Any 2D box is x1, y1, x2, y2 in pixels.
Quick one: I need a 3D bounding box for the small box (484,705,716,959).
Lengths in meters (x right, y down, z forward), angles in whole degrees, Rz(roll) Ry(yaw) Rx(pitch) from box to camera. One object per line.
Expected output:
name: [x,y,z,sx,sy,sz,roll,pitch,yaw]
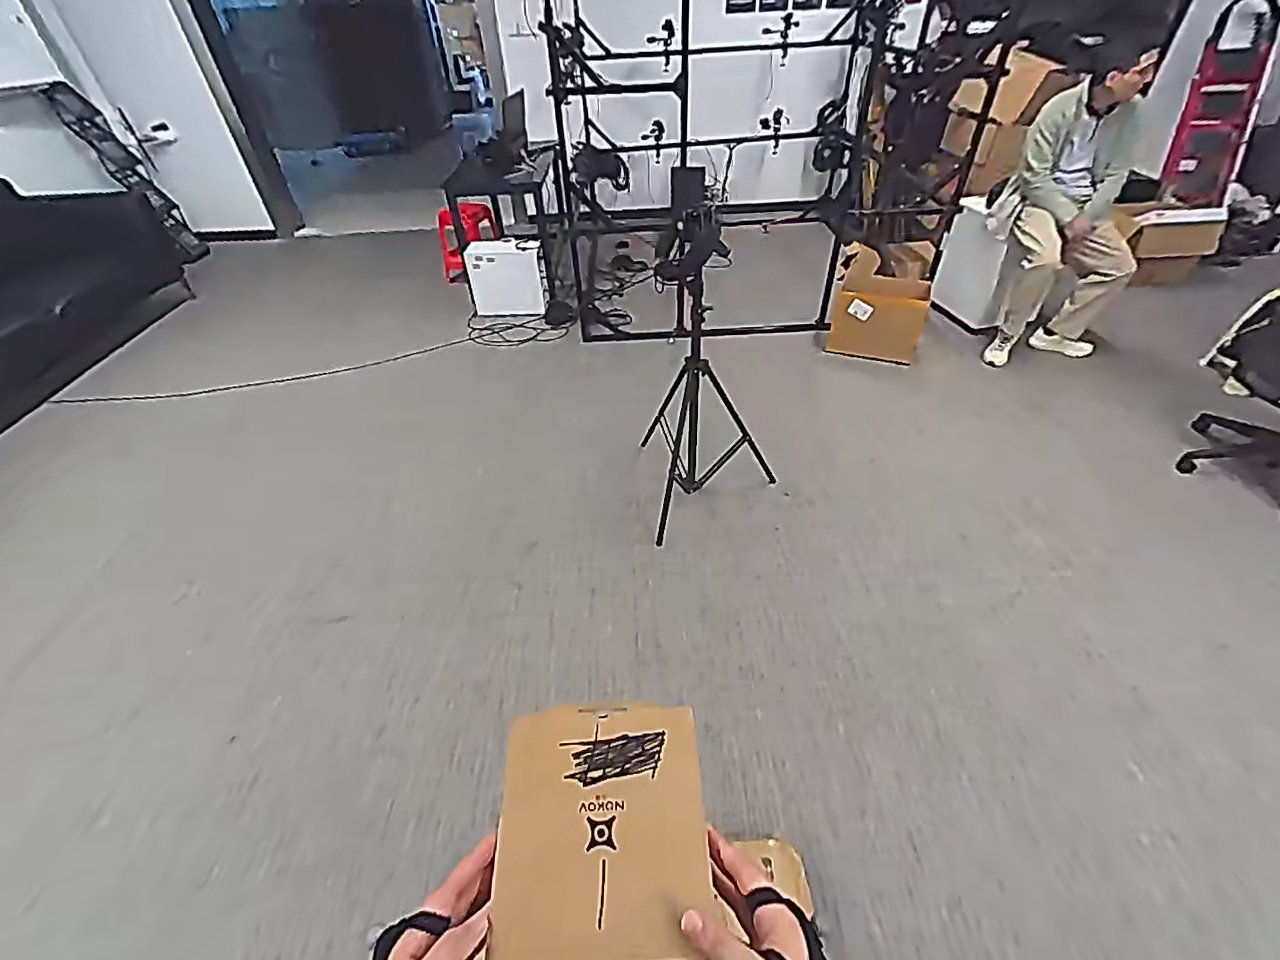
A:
small box: [-0.032,0.326,0.491,0.168,0.176,0.179,-2,46,-2]
